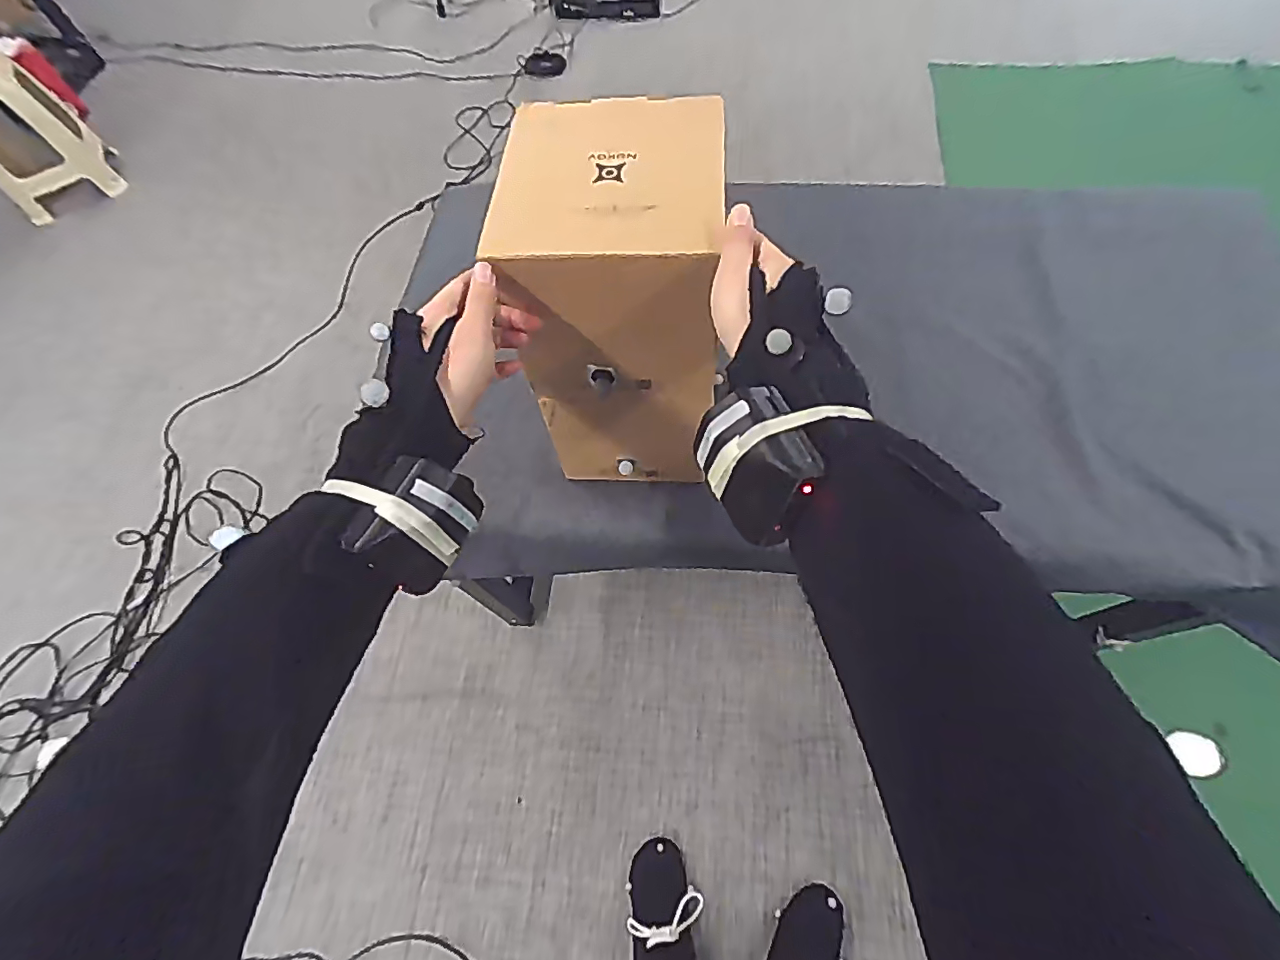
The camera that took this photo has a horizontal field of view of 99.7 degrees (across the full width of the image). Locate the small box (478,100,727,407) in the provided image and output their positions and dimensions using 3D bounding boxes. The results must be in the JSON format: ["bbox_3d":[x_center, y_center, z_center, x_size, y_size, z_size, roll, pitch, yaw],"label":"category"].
[{"bbox_3d":[-0.017,-0.181,0.457,0.168,0.176,0.179,0,64,5],"label":"small box"}]

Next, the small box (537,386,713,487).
[{"bbox_3d":[-0.006,-0.109,0.601,0.168,0.176,0.179,1,64,4],"label":"small box"}]
